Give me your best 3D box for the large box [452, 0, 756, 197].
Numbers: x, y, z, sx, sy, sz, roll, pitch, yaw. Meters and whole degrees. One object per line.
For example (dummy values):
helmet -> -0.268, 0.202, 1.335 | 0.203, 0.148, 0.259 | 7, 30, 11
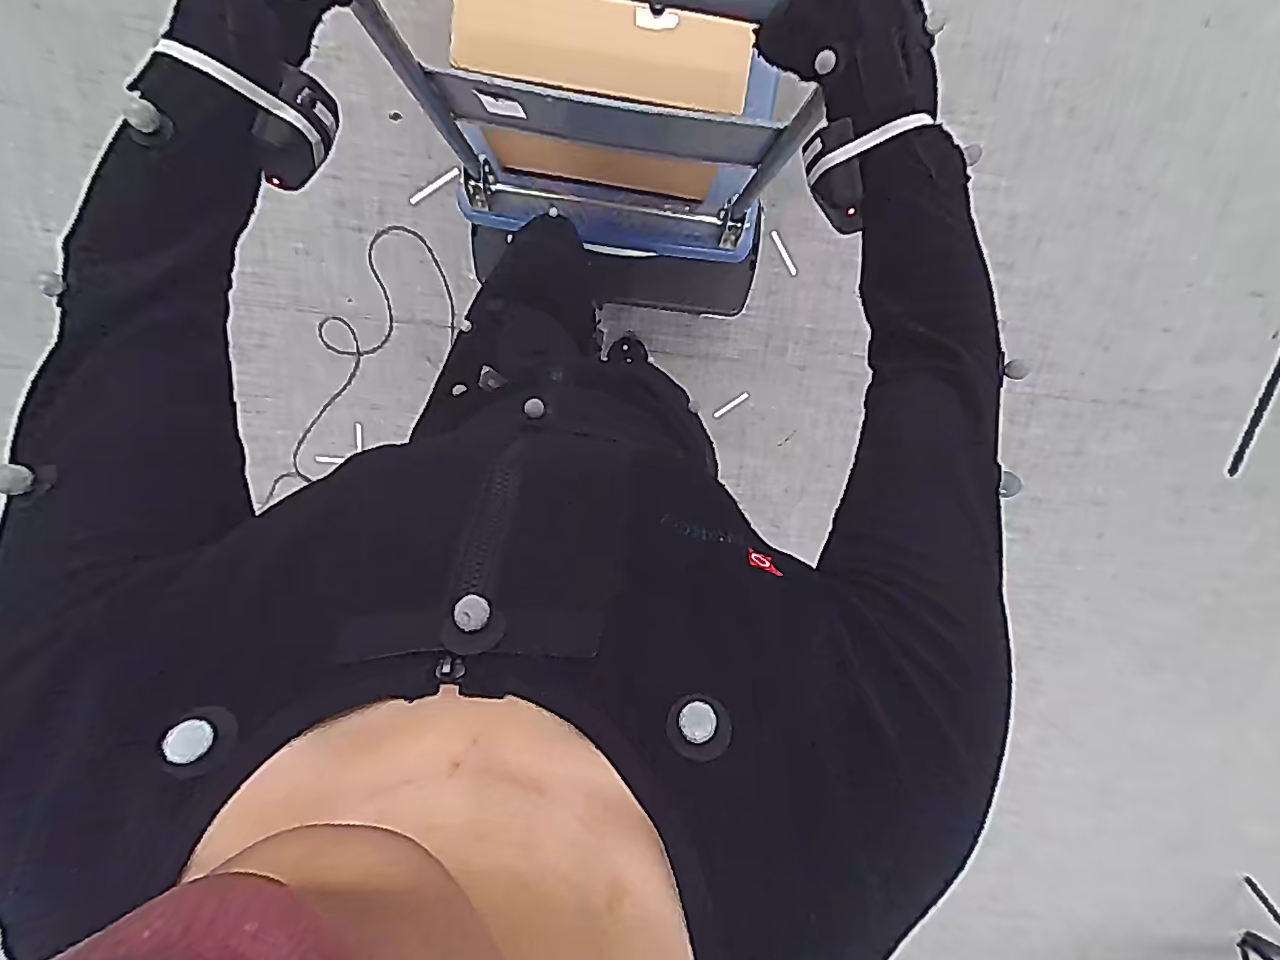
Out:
large box -> -0.049, -0.693, 0.863 | 0.408, 0.320, 0.320 | 7, 98, -5
